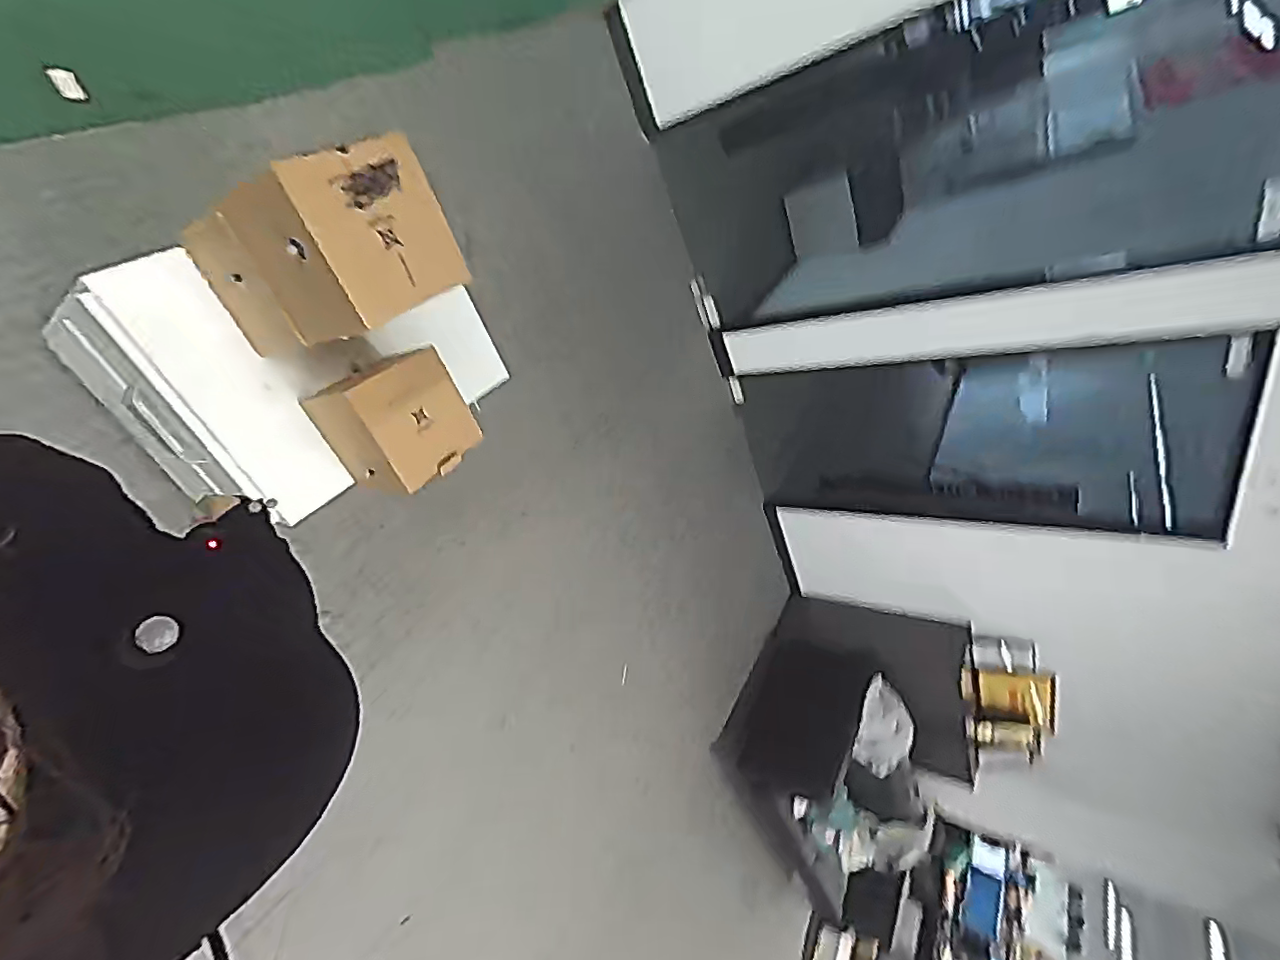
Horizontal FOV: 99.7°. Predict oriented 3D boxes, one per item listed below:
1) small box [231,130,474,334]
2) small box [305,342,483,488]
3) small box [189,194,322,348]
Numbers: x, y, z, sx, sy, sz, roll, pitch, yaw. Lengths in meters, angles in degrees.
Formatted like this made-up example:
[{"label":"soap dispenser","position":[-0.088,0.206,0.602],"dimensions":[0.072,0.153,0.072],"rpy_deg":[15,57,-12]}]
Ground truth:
[{"label":"small box","position":[-0.349,-0.295,0.664],"dimensions":[0.168,0.176,0.179],"rpy_deg":[-47,130,-38]},{"label":"small box","position":[-0.400,-0.106,0.886],"dimensions":[0.168,0.176,0.179],"rpy_deg":[-47,126,-39]},{"label":"small box","position":[-0.481,-0.303,0.763],"dimensions":[0.168,0.176,0.179],"rpy_deg":[-46,128,-38]}]
